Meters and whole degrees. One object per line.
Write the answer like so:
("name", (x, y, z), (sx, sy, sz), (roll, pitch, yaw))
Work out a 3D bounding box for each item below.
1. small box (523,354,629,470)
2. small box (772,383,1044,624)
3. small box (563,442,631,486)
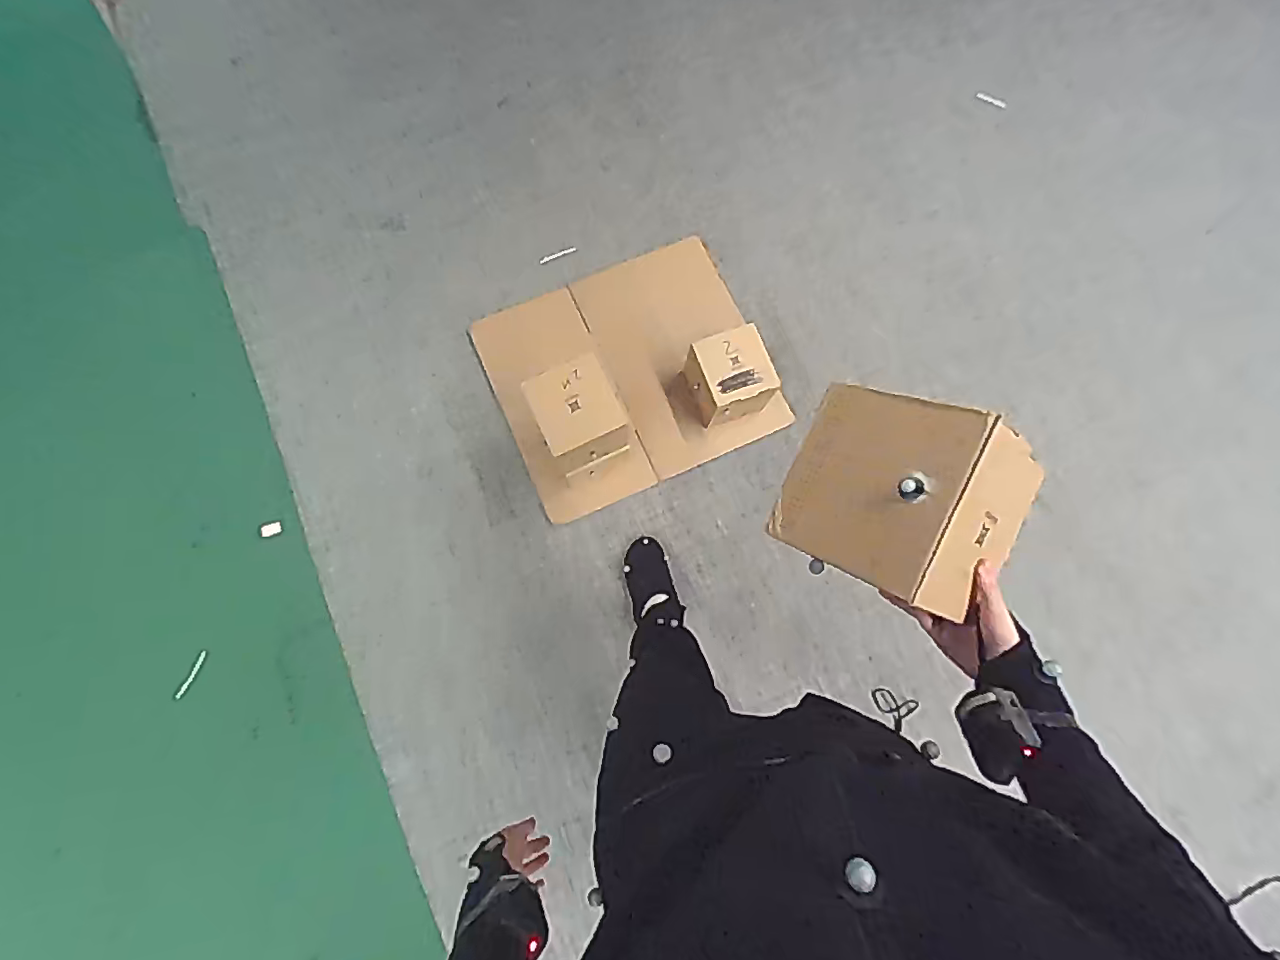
("small box", (-0.129, -0.134, 1.157), (0.168, 0.176, 0.179), (-25, 79, -7))
("small box", (0.265, 0.018, 0.549), (0.168, 0.176, 0.179), (24, 92, -40))
("small box", (-0.128, -0.097, 1.318), (0.168, 0.176, 0.179), (-25, 79, -6))
